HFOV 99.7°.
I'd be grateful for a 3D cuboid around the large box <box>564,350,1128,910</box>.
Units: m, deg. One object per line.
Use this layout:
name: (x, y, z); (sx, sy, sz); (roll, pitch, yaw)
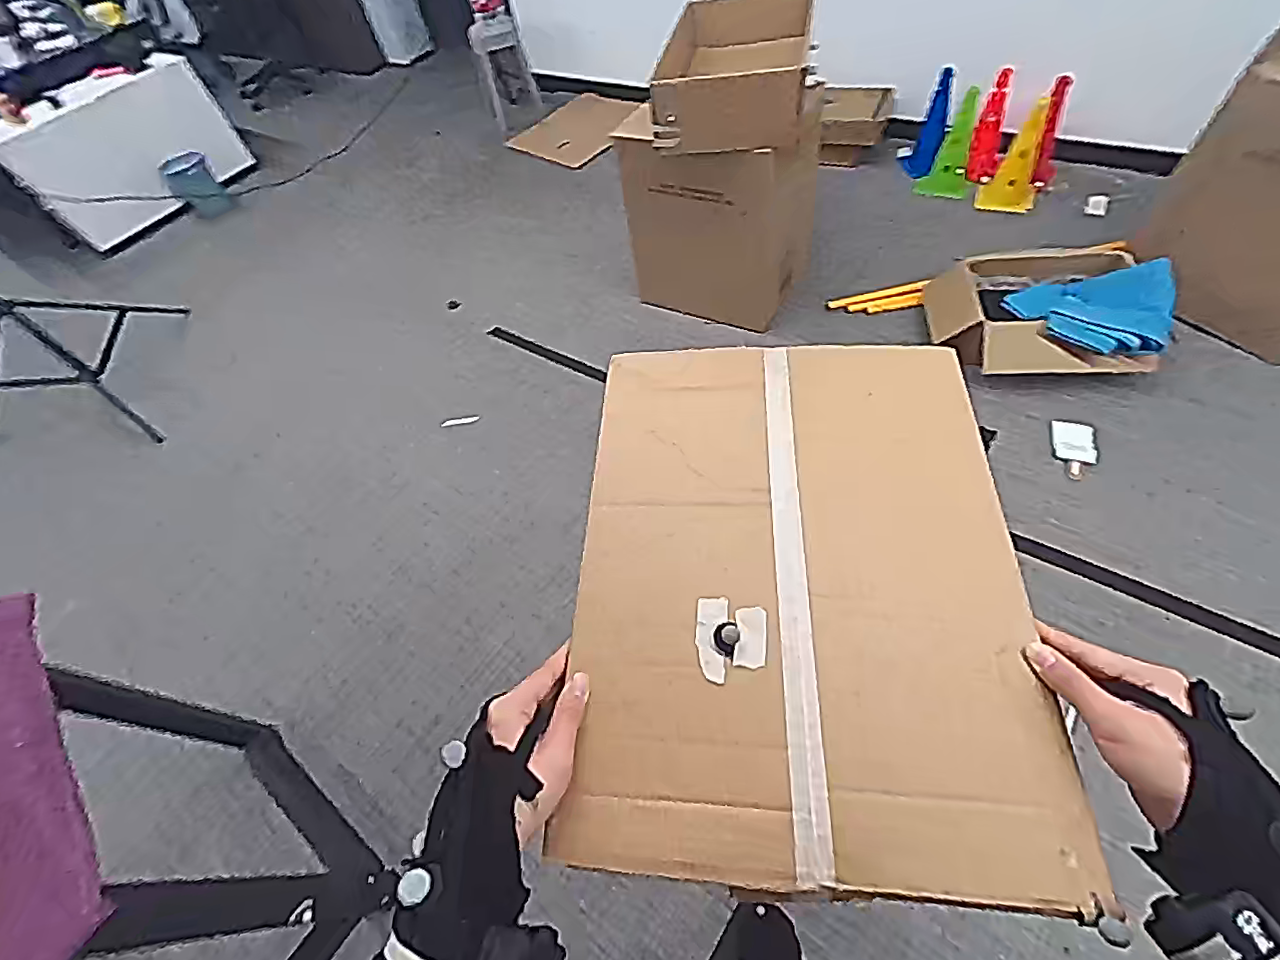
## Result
large box: (0.128, 0.129, 0.526); (0.320, 0.320, 0.408); (-1, 60, 7)
